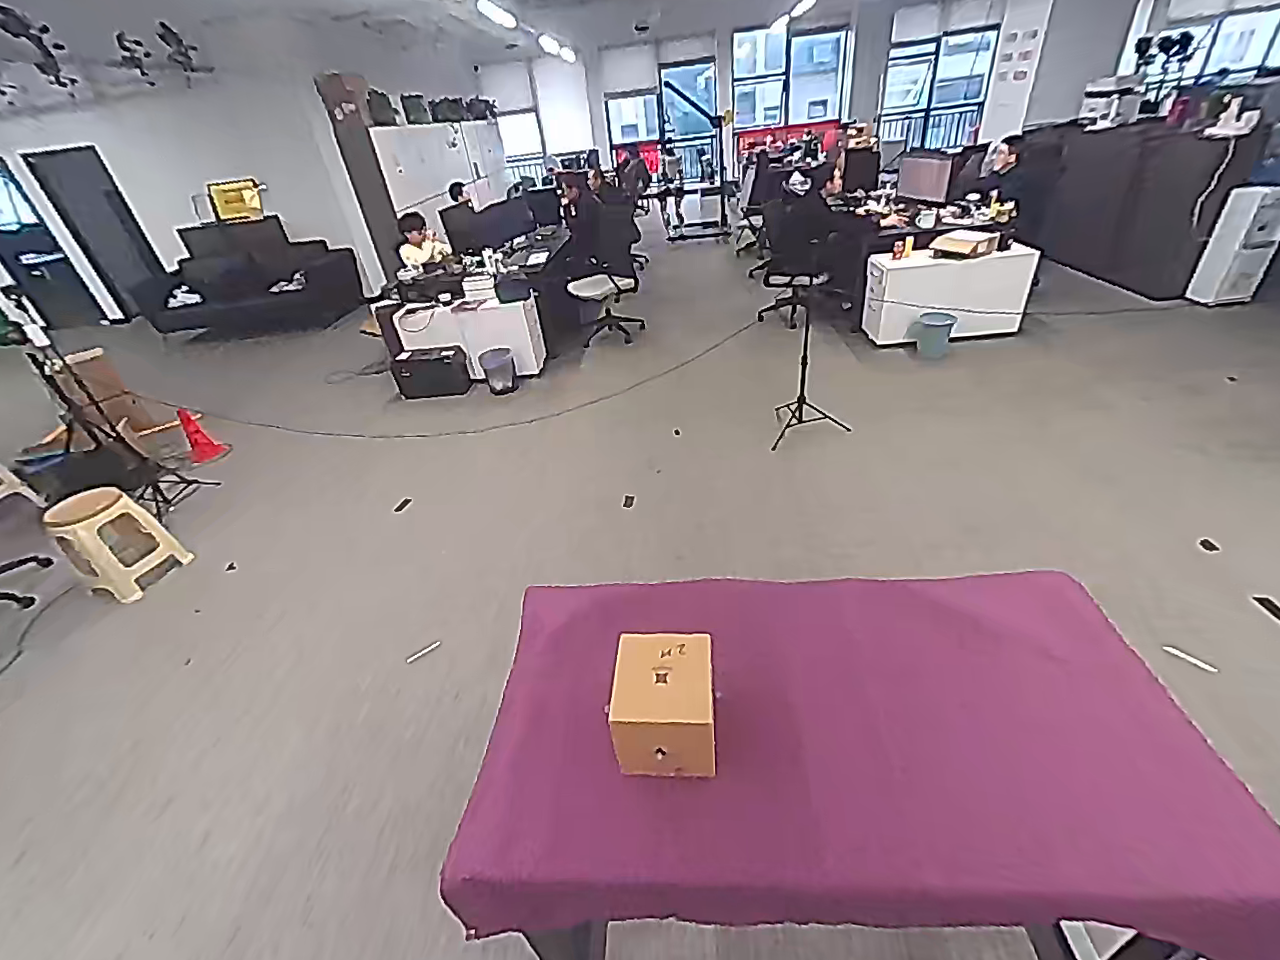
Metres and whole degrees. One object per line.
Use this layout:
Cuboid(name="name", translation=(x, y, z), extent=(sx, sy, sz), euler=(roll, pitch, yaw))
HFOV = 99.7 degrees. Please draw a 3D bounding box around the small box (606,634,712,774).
Cuboid(name="small box", translation=(0.042, 0.397, 0.962), extent=(0.168, 0.176, 0.179), euler=(-2, 34, 7))
